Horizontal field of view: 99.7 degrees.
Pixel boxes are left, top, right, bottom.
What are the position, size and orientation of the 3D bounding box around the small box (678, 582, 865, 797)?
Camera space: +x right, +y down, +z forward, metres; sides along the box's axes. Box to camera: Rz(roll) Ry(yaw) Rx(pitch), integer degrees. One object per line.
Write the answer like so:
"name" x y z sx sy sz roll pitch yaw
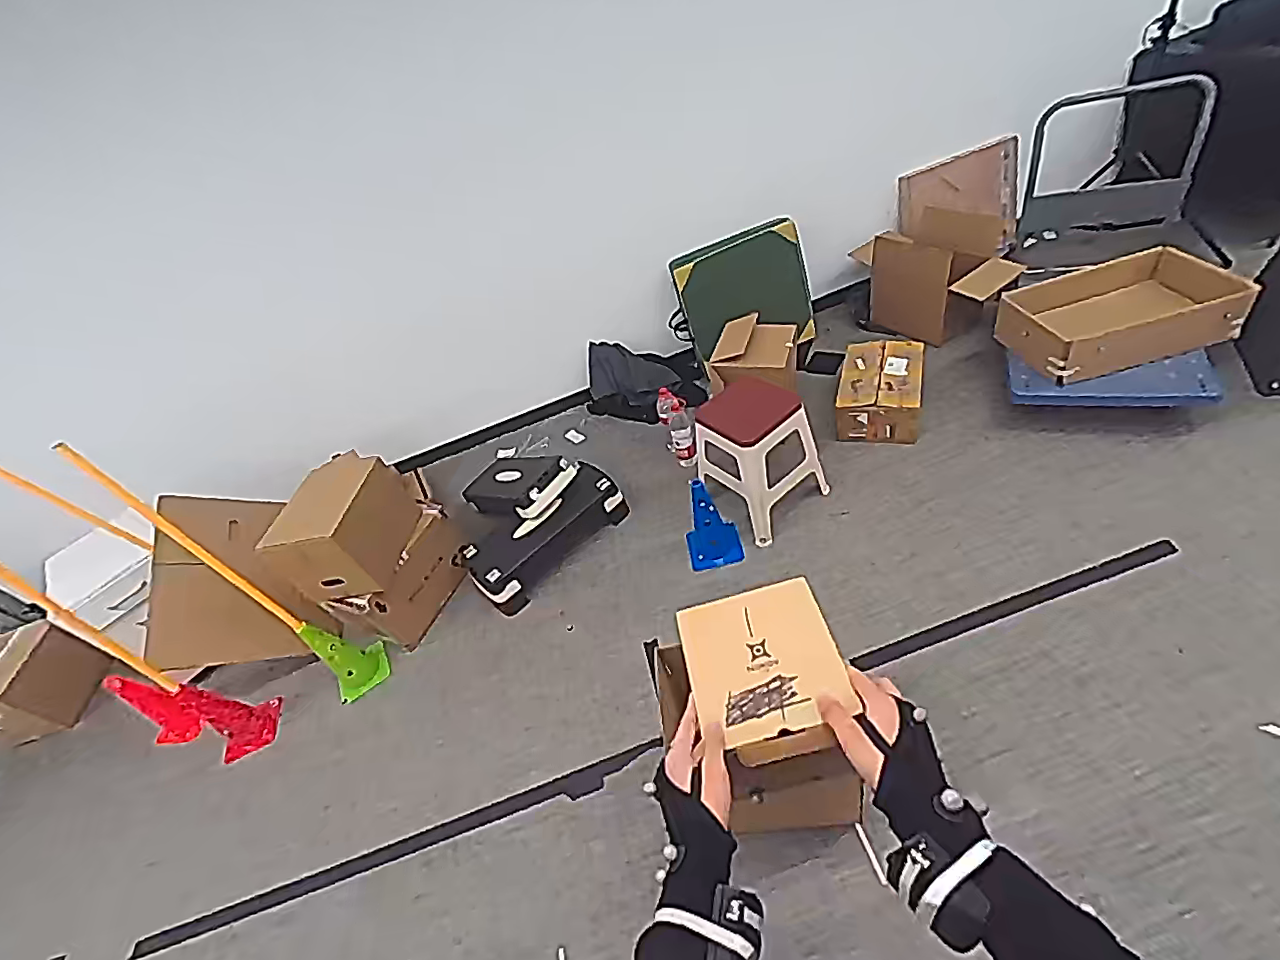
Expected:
"small box" 0.158 0.259 0.653 0.168 0.176 0.179 -18 41 5
